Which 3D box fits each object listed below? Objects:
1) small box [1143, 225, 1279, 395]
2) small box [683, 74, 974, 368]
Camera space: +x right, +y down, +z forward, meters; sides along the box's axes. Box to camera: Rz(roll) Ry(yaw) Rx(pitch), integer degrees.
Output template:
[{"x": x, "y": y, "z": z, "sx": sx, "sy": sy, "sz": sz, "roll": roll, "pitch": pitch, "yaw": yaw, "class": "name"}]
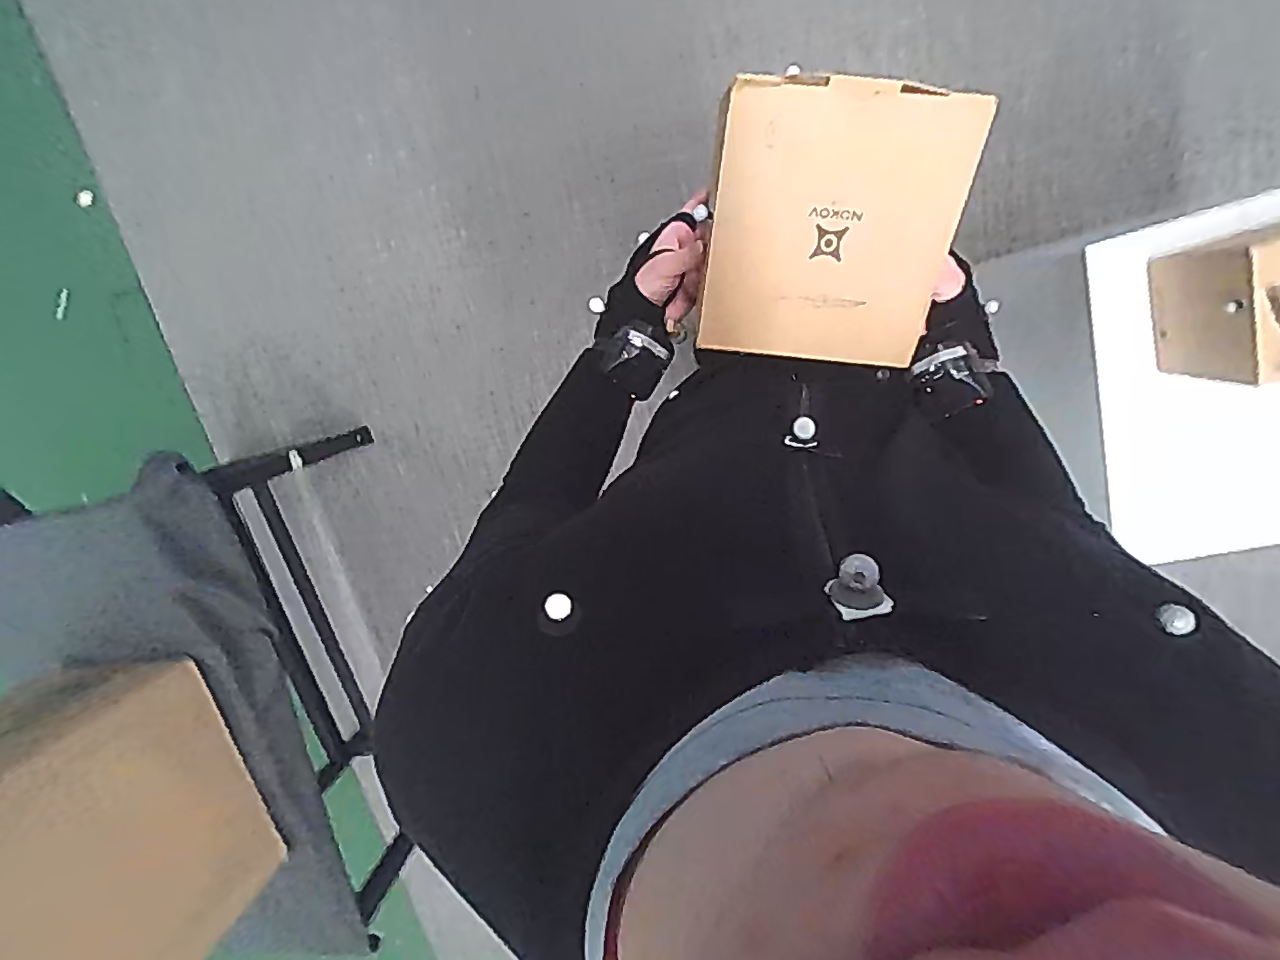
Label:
[{"x": 0.787, "y": -0.219, "z": 0.672, "sx": 0.179, "sy": 0.176, "sz": 0.168, "roll": -15, "pitch": 104, "yaw": 14, "class": "small box"}, {"x": 0.127, "y": -0.211, "z": 0.447, "sx": 0.168, "sy": 0.176, "sz": 0.179, "roll": 7, "pitch": 122, "yaw": 2, "class": "small box"}]
